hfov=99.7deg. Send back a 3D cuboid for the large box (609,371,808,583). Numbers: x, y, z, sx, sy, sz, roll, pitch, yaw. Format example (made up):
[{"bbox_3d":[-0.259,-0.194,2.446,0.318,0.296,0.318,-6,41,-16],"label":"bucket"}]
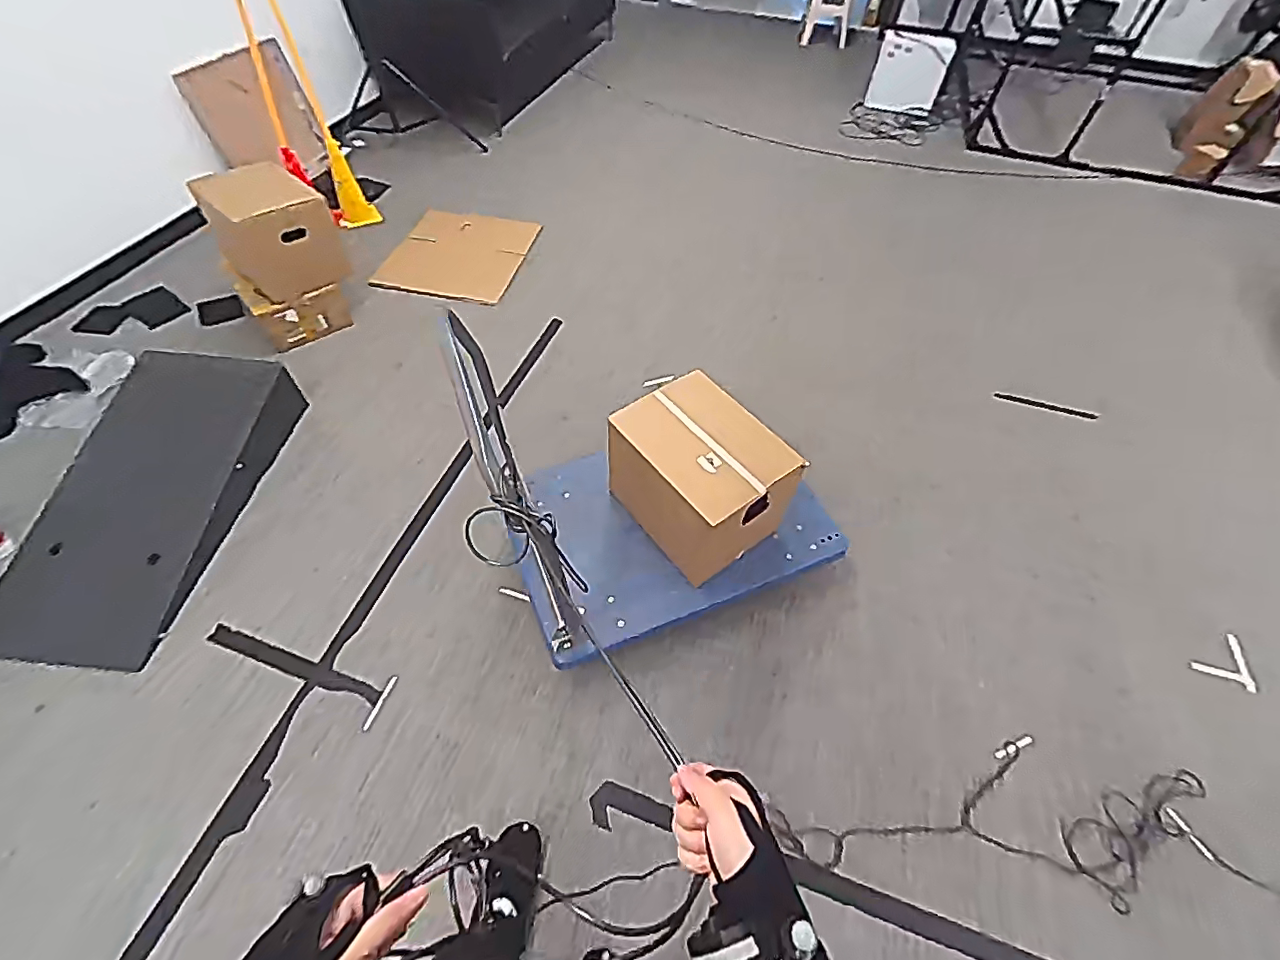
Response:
[{"bbox_3d":[0.156,-0.011,1.442,0.320,0.320,0.408,-31,62,-22],"label":"large box"}]
